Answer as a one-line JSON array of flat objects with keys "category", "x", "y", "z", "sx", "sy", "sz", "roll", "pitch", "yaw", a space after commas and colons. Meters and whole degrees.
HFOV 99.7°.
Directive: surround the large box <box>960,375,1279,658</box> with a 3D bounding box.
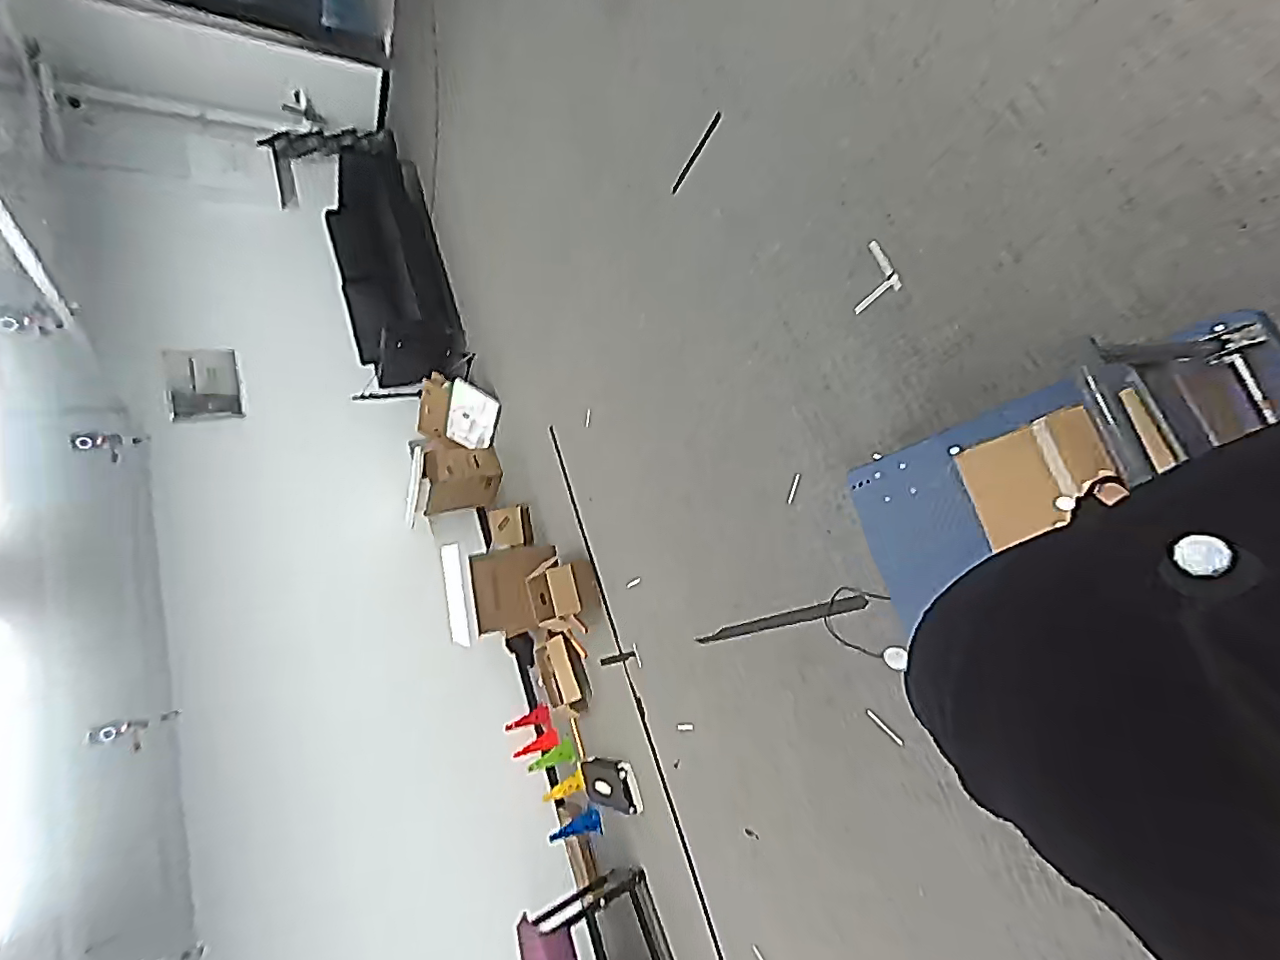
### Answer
[{"category": "large box", "x": 0.866, "y": 0.065, "z": 0.953, "sx": 0.320, "sy": 0.320, "sz": 0.408, "roll": -33, "pitch": 69, "yaw": 55}]
